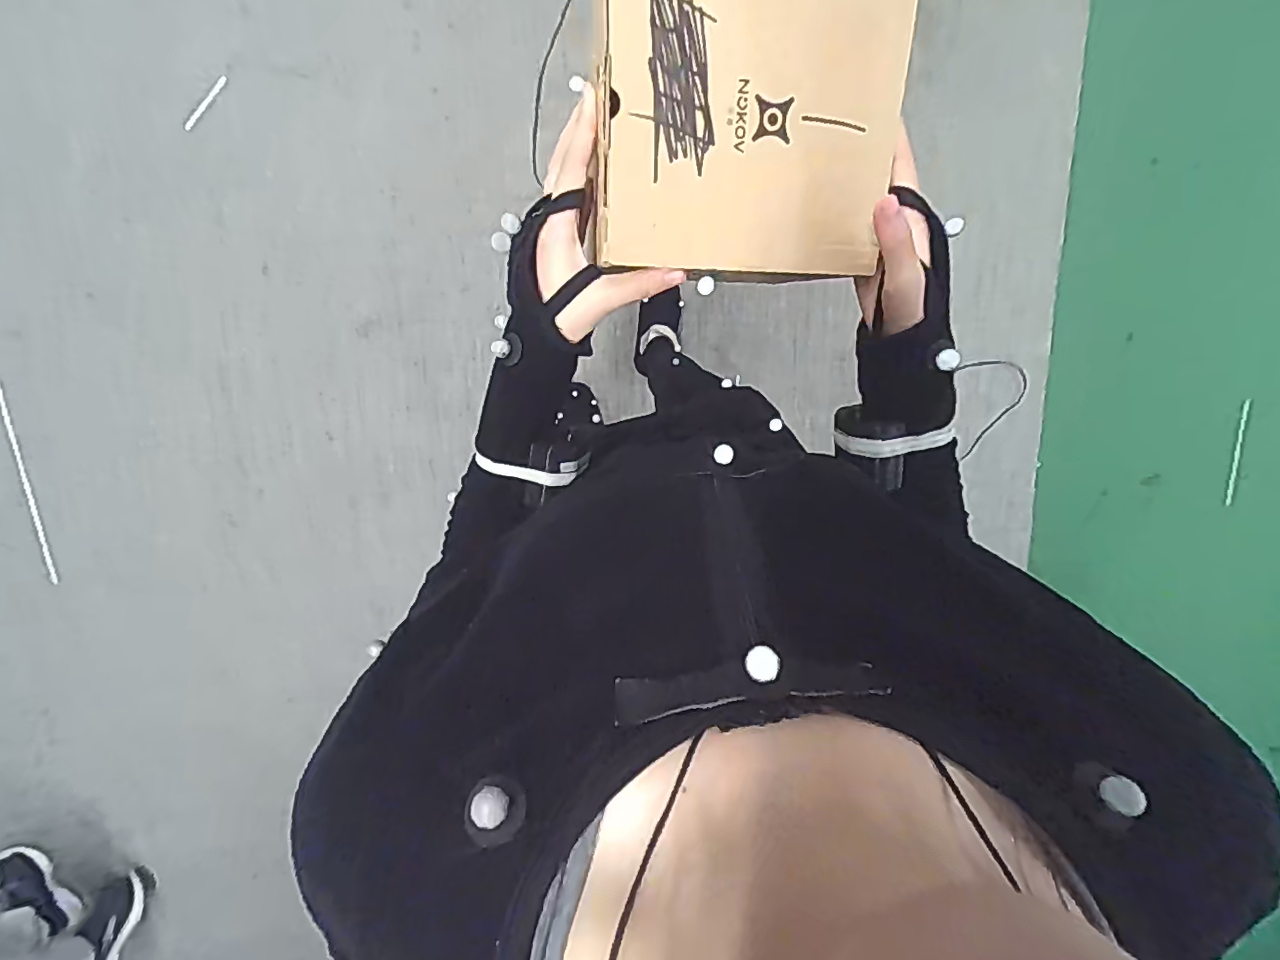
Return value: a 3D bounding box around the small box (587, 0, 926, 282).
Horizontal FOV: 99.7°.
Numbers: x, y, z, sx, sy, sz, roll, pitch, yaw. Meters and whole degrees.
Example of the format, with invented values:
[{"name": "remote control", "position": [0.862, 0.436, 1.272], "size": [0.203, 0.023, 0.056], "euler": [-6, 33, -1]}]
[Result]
[{"name": "small box", "position": [0.056, -0.232, 0.376], "size": [0.179, 0.176, 0.168], "euler": [-1, 108, -11]}]
